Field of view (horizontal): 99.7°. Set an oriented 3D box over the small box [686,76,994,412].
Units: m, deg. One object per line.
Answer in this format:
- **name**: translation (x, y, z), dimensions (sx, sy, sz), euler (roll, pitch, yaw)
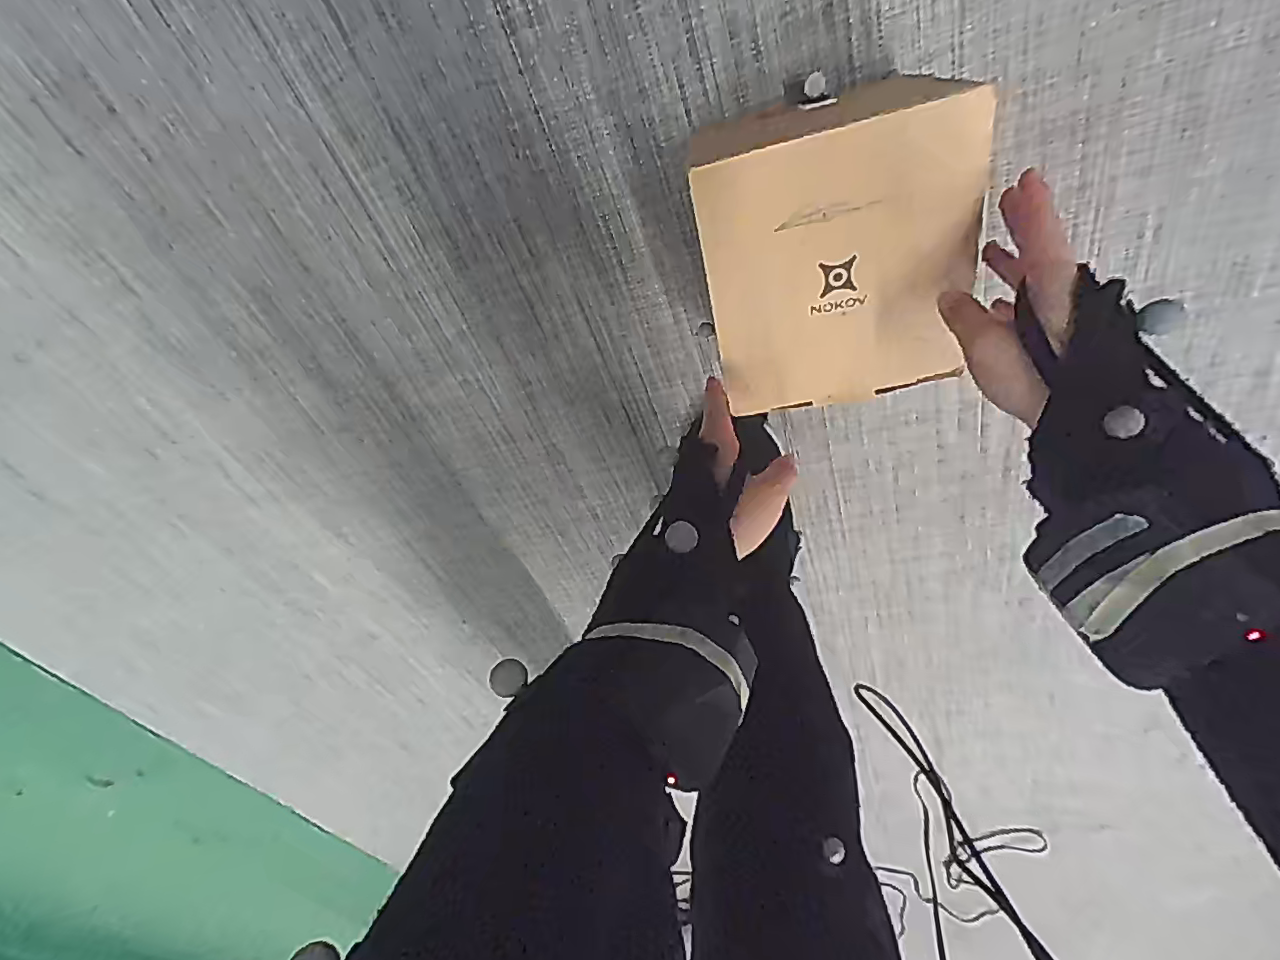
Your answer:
- **small box**: translation (0.132, -0.179, 0.409), dimensions (0.168, 0.176, 0.179), euler (-10, 126, 11)
